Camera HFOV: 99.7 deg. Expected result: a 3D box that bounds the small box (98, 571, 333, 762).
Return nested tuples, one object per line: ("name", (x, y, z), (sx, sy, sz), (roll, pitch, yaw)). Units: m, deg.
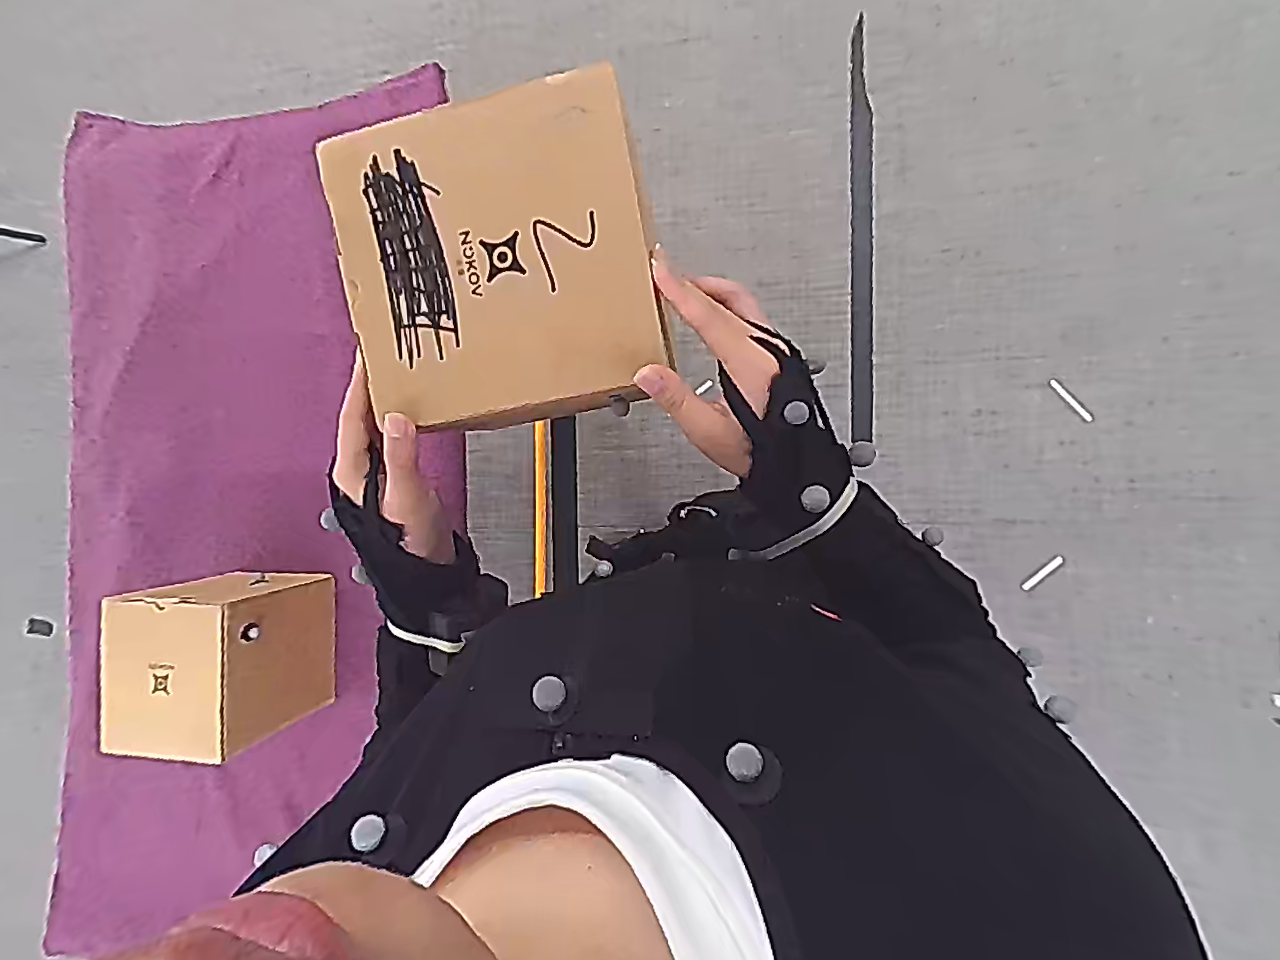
("small box", (-0.510, 0.216, 0.670), (0.168, 0.176, 0.179), (-1, 89, 11))
